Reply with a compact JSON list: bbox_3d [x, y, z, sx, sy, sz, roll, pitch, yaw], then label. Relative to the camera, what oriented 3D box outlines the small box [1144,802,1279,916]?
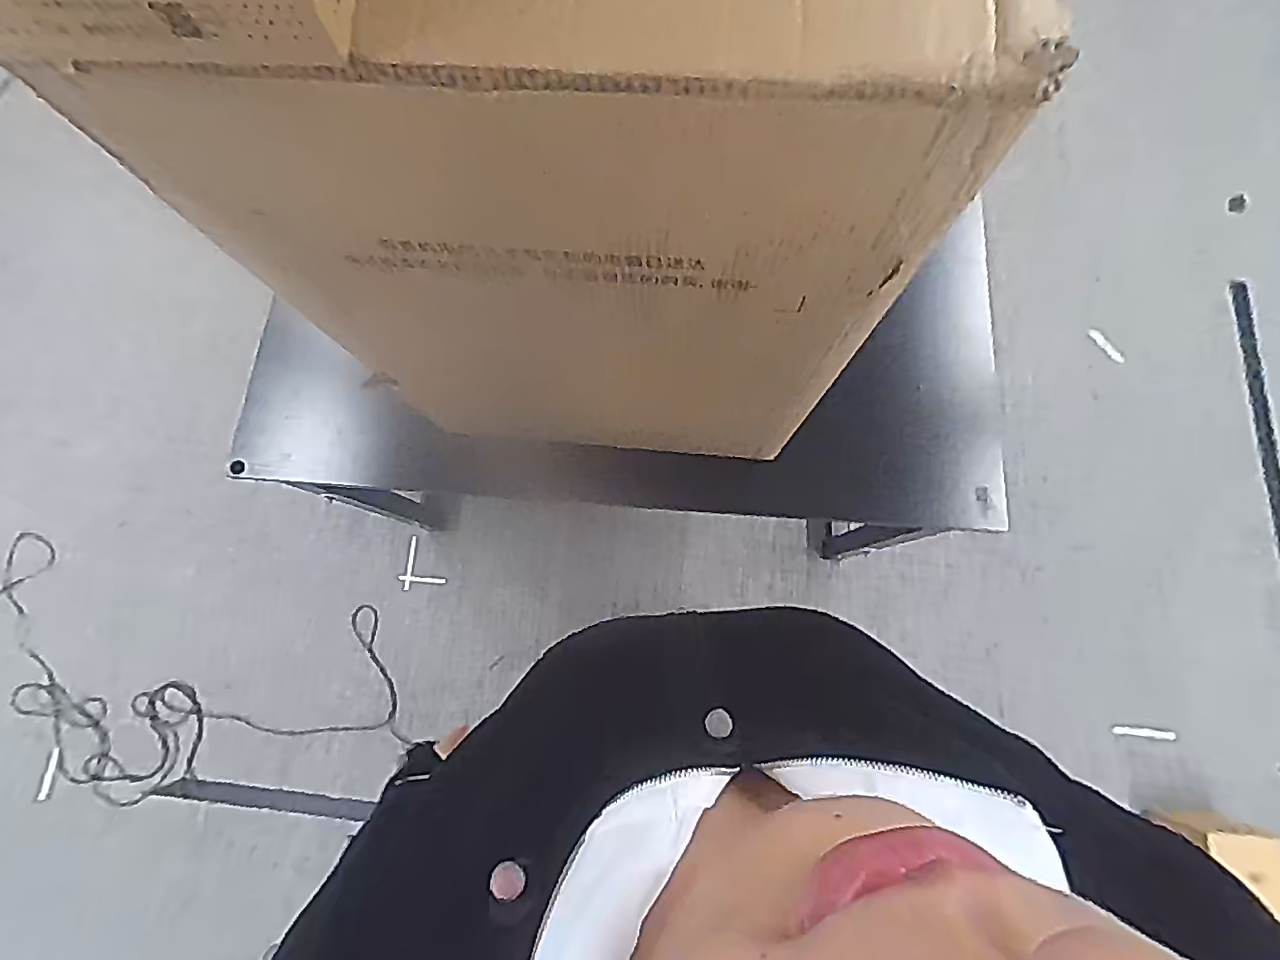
[{"bbox_3d":[1.338,0.869,1.253,0.179,0.176,0.168,3,76,4],"label":"small box"}]
